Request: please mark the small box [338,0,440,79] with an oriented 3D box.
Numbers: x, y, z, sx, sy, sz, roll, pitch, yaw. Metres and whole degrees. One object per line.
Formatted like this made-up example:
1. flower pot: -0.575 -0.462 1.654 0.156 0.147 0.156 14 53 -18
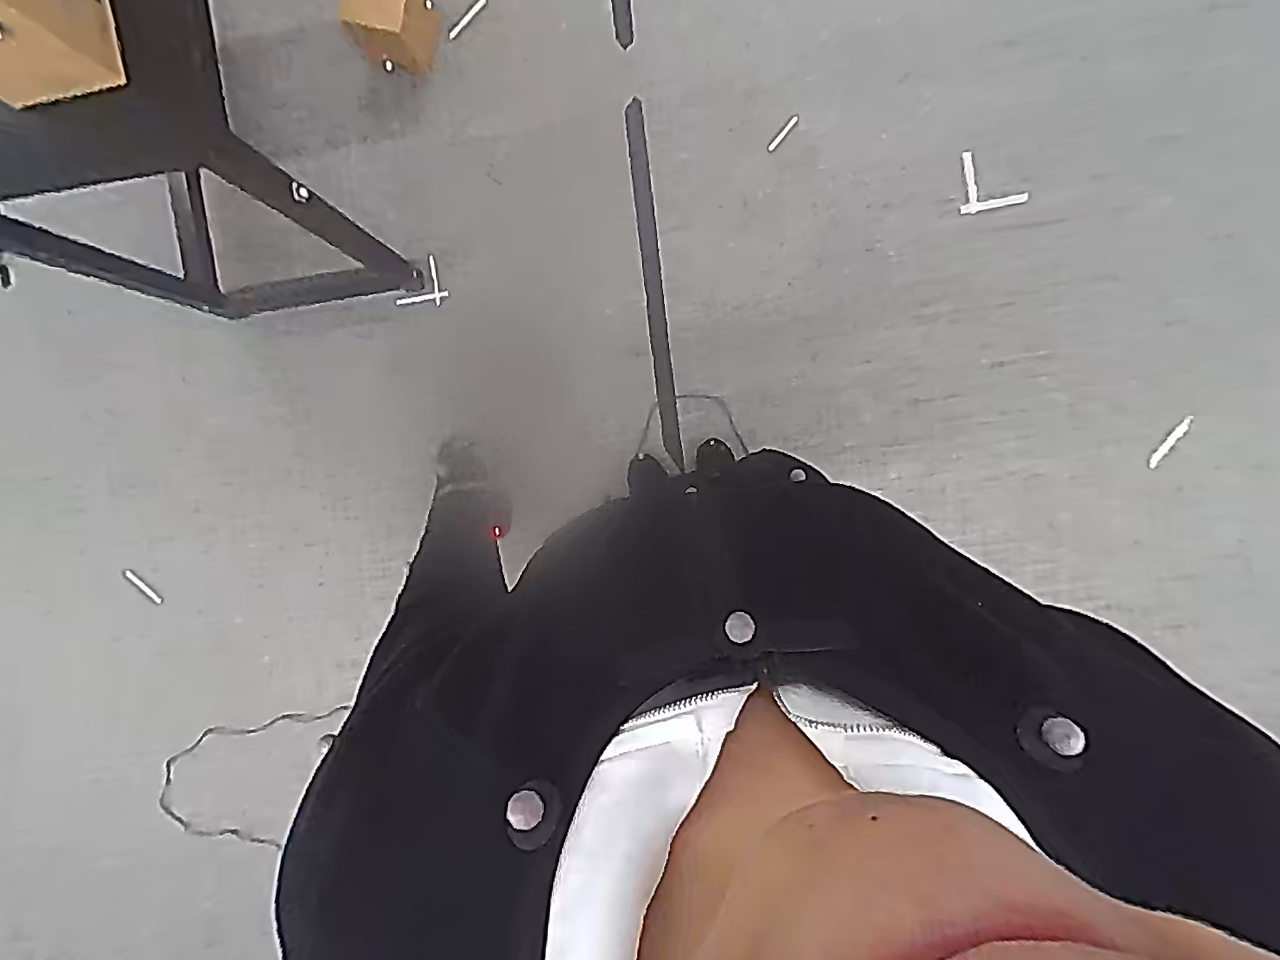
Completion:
1. small box: -0.636 -1.188 1.388 0.168 0.176 0.179 13 95 3
